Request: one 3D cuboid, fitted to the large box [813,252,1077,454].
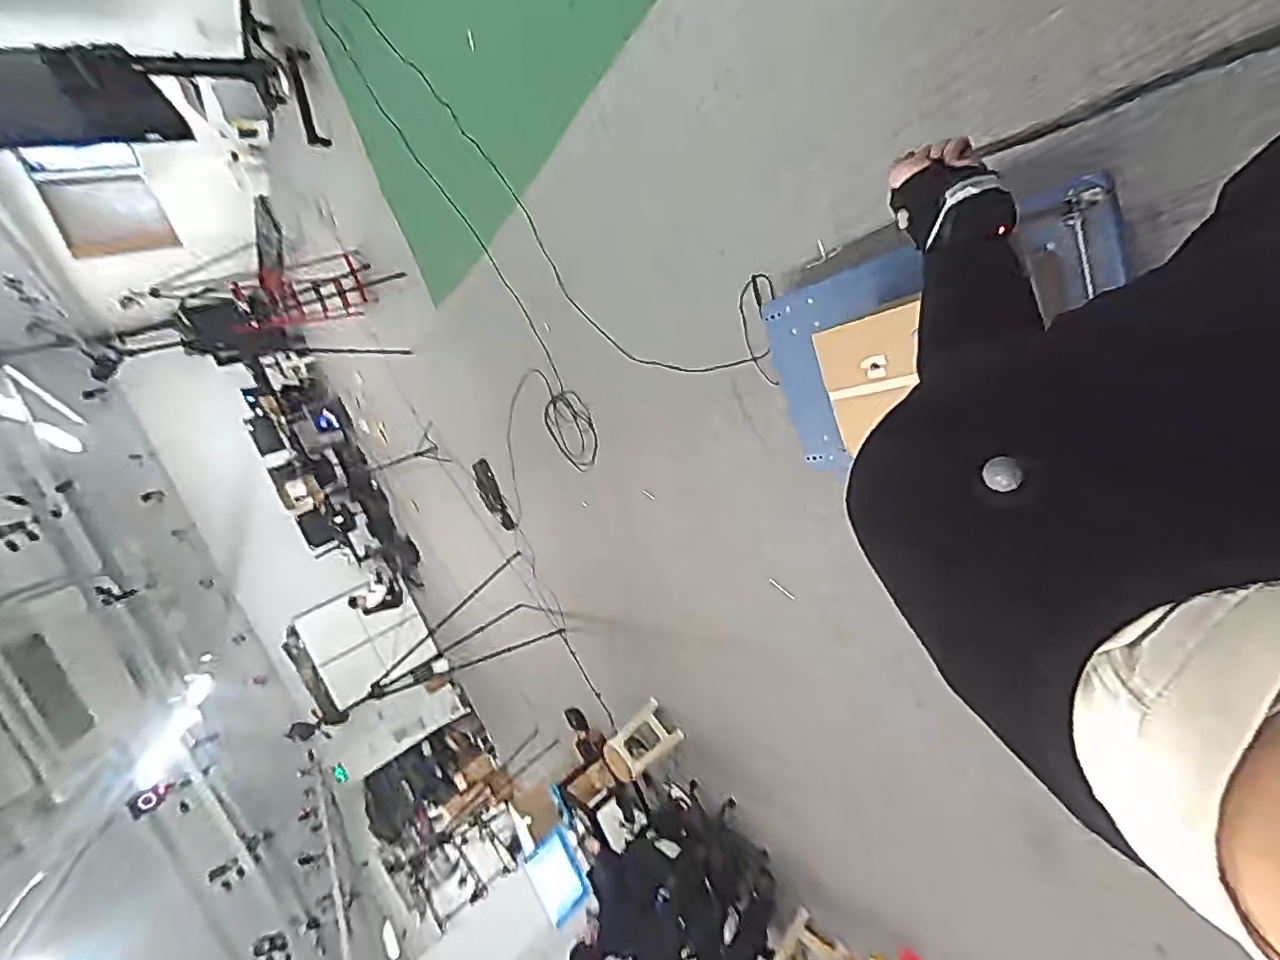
[{"bbox_3d":[0.686,-0.275,1.237,0.408,0.320,0.320,-5,108,54],"label":"large box"}]
